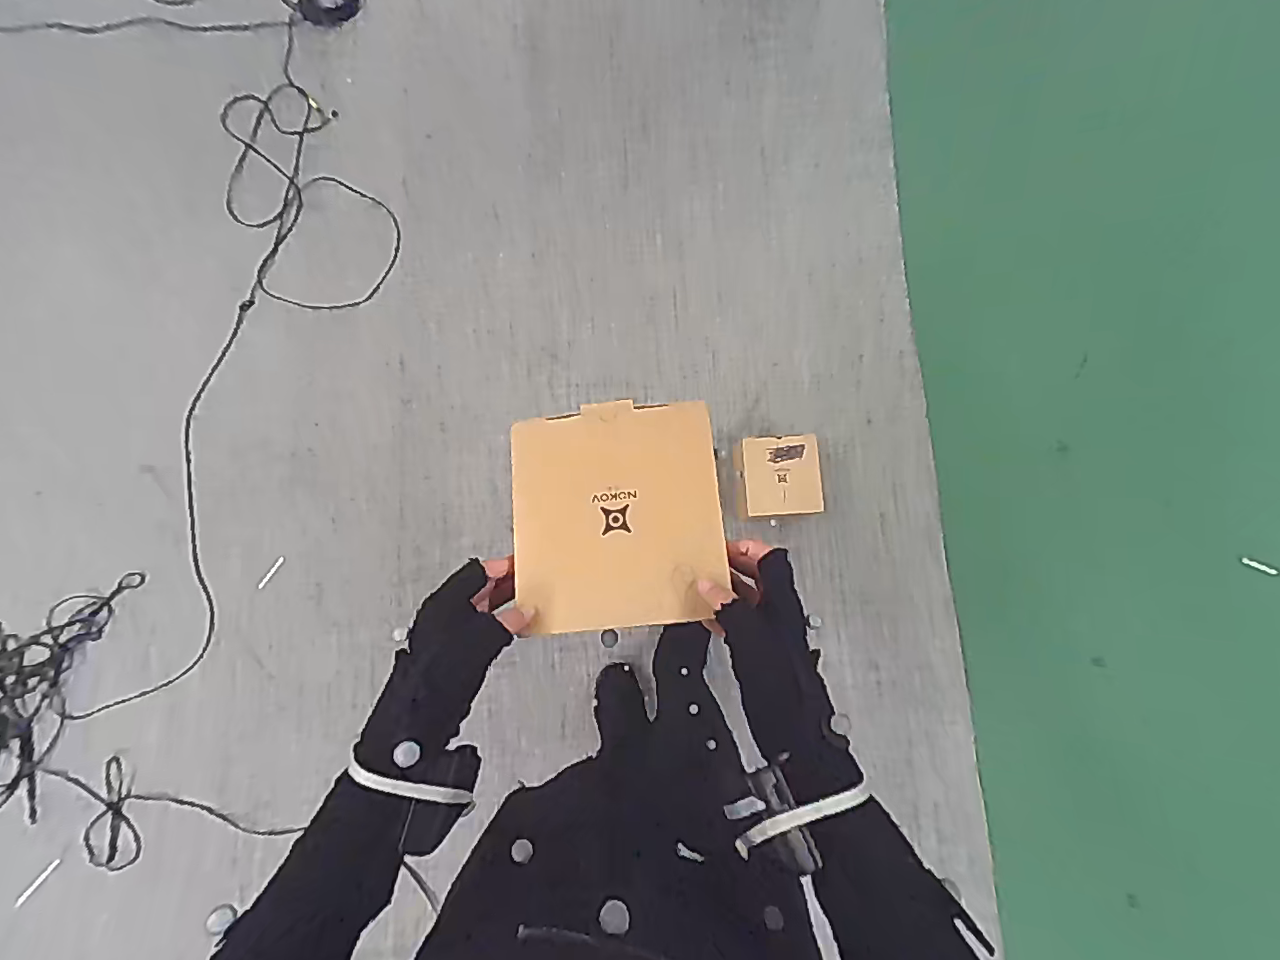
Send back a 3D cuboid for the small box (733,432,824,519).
[{"bbox_3d":[0.312,-0.005,1.251,0.168,0.176,0.179,-4,82,2],"label":"small box"}]
